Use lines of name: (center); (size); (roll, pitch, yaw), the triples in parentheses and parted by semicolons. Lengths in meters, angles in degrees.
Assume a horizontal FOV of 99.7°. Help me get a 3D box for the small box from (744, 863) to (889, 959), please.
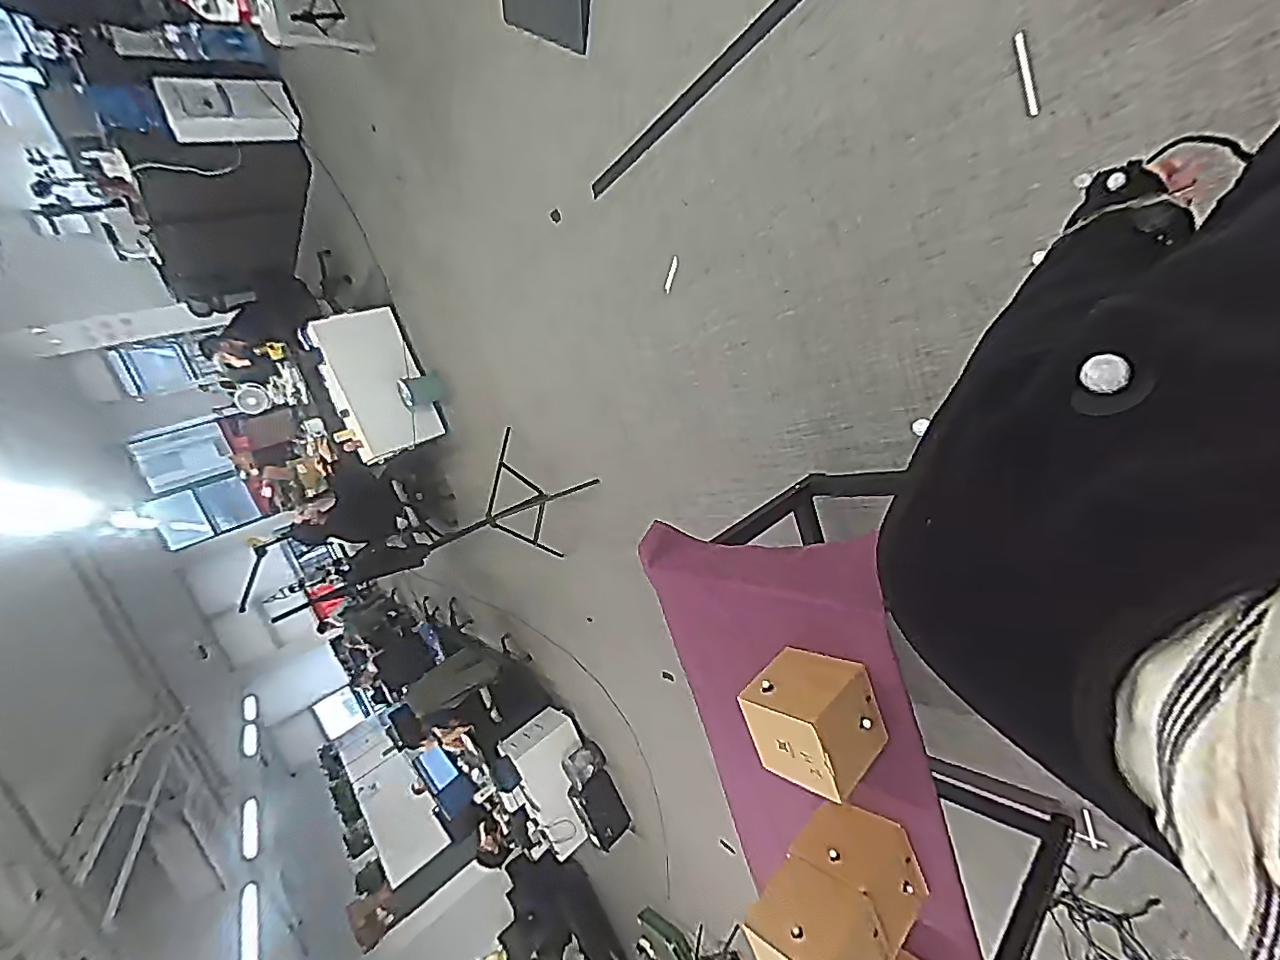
small box: (0.328, 0.852, 0.981); (0.179, 0.176, 0.168); (-11, 104, 54)

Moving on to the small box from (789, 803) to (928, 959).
small box: (0.439, 0.794, 1.089); (0.179, 0.176, 0.168); (-13, 102, 54)

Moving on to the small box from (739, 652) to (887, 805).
small box: (0.319, 0.442, 0.998); (0.179, 0.176, 0.168); (-6, 109, 54)
